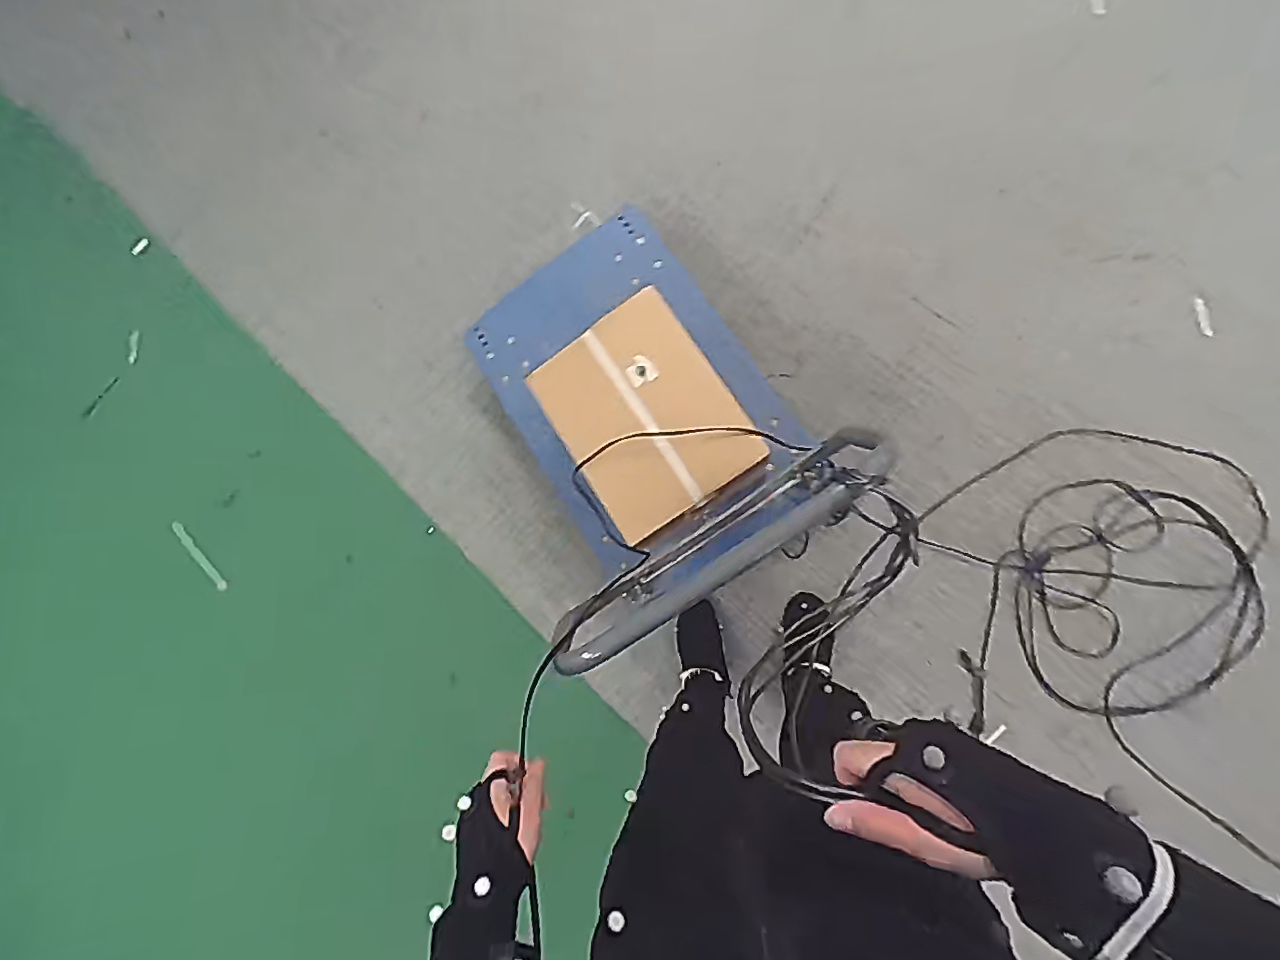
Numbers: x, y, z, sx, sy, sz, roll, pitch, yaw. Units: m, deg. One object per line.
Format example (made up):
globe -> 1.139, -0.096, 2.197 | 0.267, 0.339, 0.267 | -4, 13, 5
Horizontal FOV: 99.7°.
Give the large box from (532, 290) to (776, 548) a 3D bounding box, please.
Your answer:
large box -> 0.047, -0.105, 1.156 | 0.320, 0.320, 0.408 | -34, 78, 7
